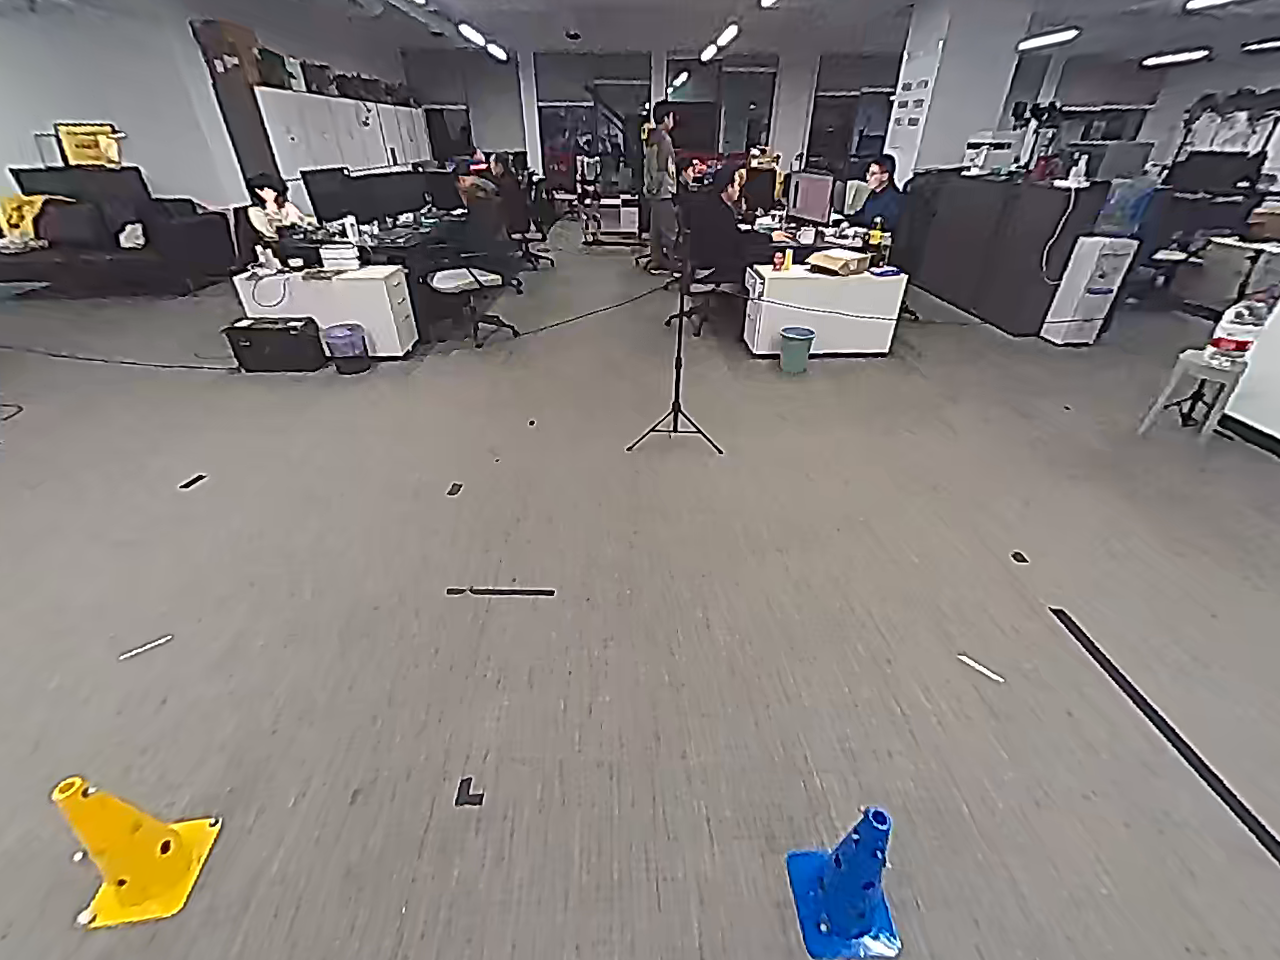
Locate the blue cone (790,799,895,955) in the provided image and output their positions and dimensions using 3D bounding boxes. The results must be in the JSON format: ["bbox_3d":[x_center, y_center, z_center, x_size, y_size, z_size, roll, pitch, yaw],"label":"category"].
[{"bbox_3d":[0.437,0.773,1.089,0.193,0.380,0.192,0,31,0],"label":"blue cone"}]
